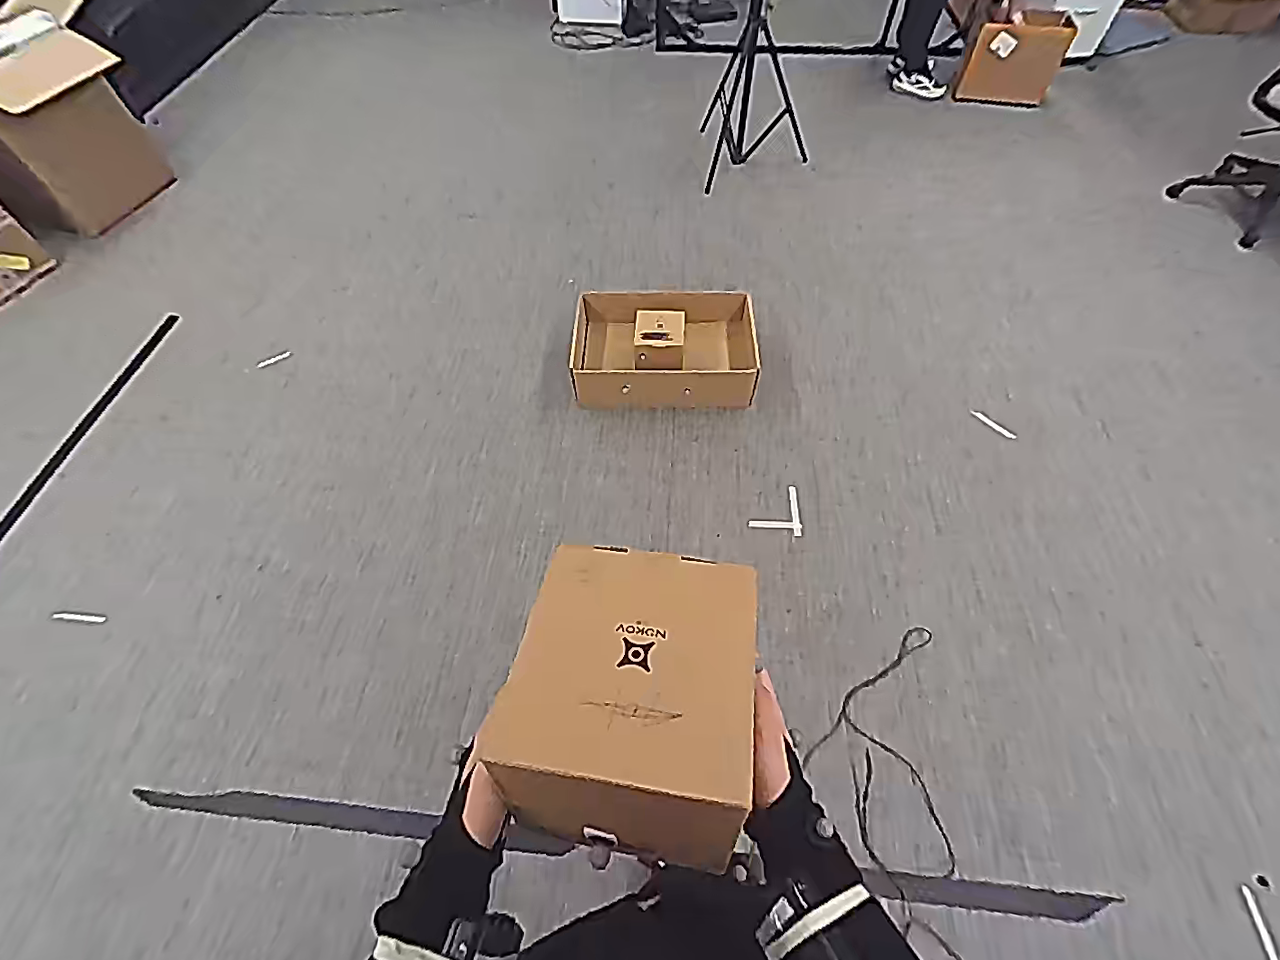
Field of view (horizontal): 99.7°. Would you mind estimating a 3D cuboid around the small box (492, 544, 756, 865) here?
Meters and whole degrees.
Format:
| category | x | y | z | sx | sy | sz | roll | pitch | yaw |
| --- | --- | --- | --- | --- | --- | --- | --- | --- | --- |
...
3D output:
| category | x | y | z | sx | sy | sz | roll | pitch | yaw |
| --- | --- | --- | --- | --- | --- | --- | --- | --- | --- |
| small box | 0.000 | 0.179 | 0.440 | 0.168 | 0.176 | 0.179 | 5 | 44 | 7 |
